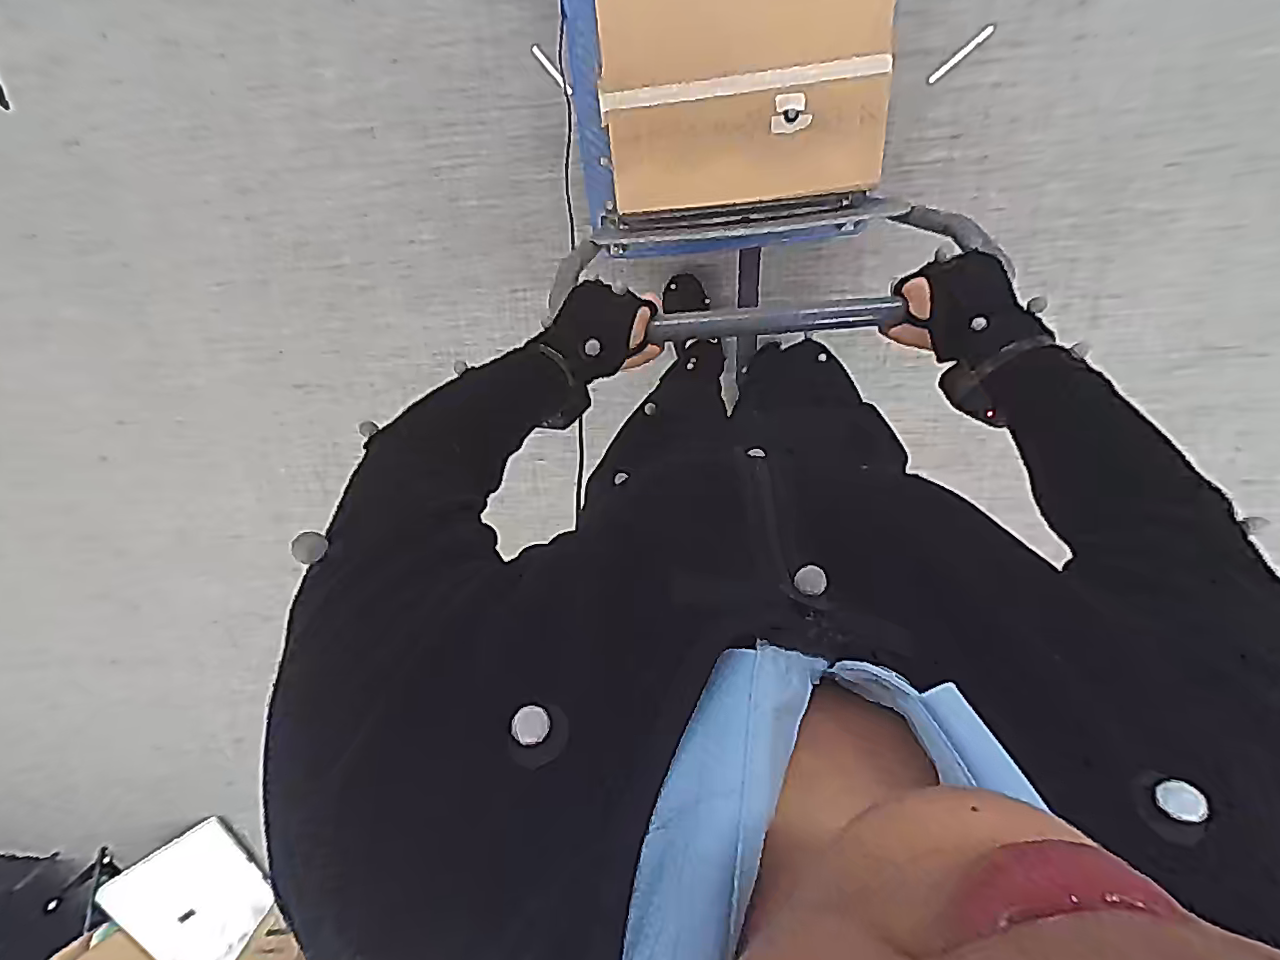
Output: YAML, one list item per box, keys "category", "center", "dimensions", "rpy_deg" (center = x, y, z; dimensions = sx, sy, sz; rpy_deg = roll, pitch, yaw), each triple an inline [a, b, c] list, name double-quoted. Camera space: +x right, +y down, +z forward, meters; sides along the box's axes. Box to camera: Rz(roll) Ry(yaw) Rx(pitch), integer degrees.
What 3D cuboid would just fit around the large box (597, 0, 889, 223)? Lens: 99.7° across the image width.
- category: "large box"
  center: [0.161, -0.639, 0.924]
  dimensions: [0.408, 0.320, 0.320]
  rpy_deg: [-4, 118, 6]
